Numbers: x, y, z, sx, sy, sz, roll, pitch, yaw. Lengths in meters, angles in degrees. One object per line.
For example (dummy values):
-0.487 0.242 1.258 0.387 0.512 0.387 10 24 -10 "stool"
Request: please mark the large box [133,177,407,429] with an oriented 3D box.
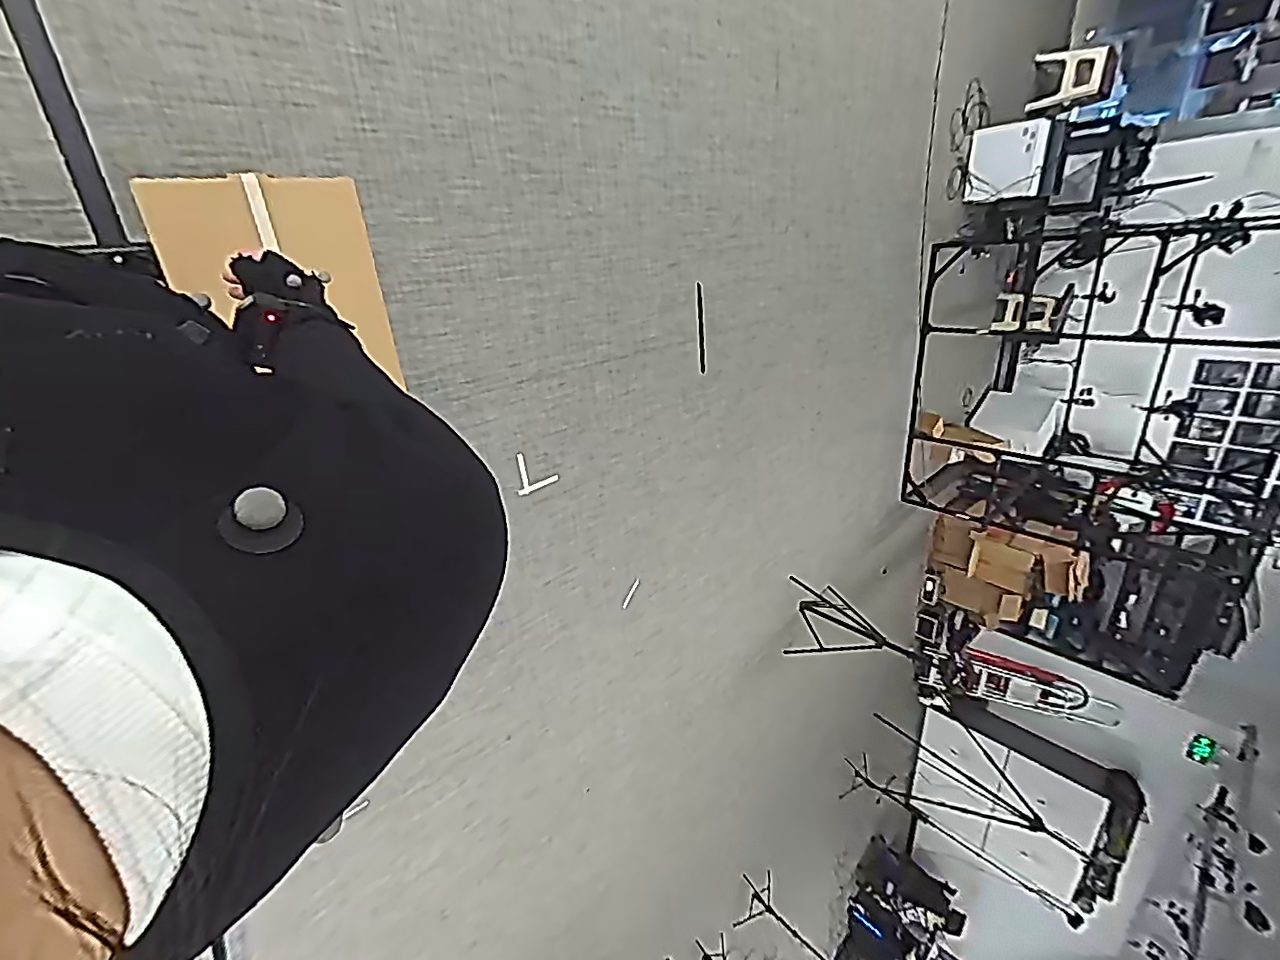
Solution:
-0.707 -0.358 1.073 0.320 0.320 0.408 -19 119 -30 "large box"
